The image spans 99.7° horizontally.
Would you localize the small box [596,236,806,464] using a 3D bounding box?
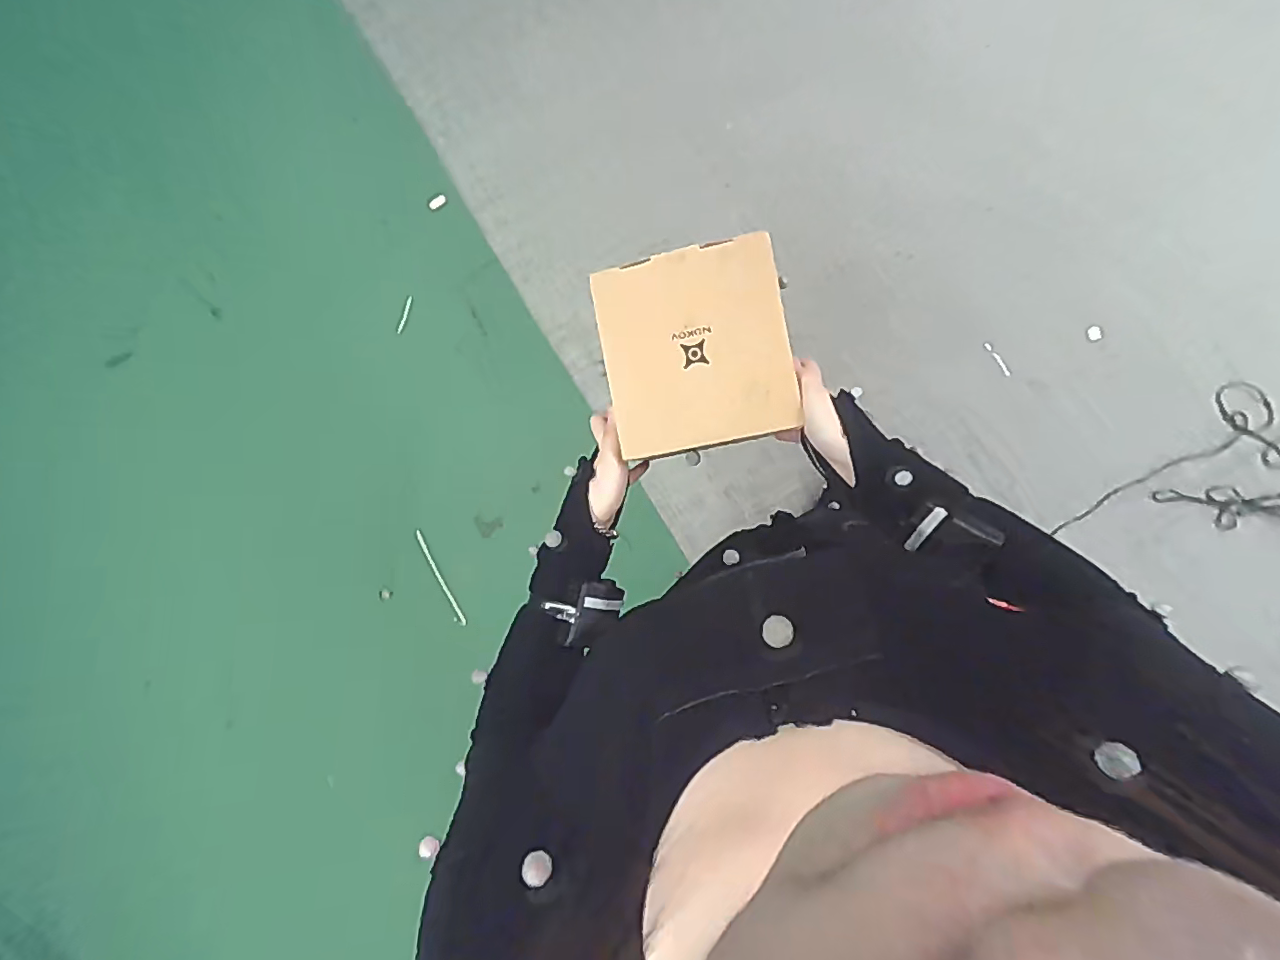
[{"bbox_3d":[0.065,-0.116,0.557,0.168,0.176,0.179,-10,90,8],"label":"small box"}]
